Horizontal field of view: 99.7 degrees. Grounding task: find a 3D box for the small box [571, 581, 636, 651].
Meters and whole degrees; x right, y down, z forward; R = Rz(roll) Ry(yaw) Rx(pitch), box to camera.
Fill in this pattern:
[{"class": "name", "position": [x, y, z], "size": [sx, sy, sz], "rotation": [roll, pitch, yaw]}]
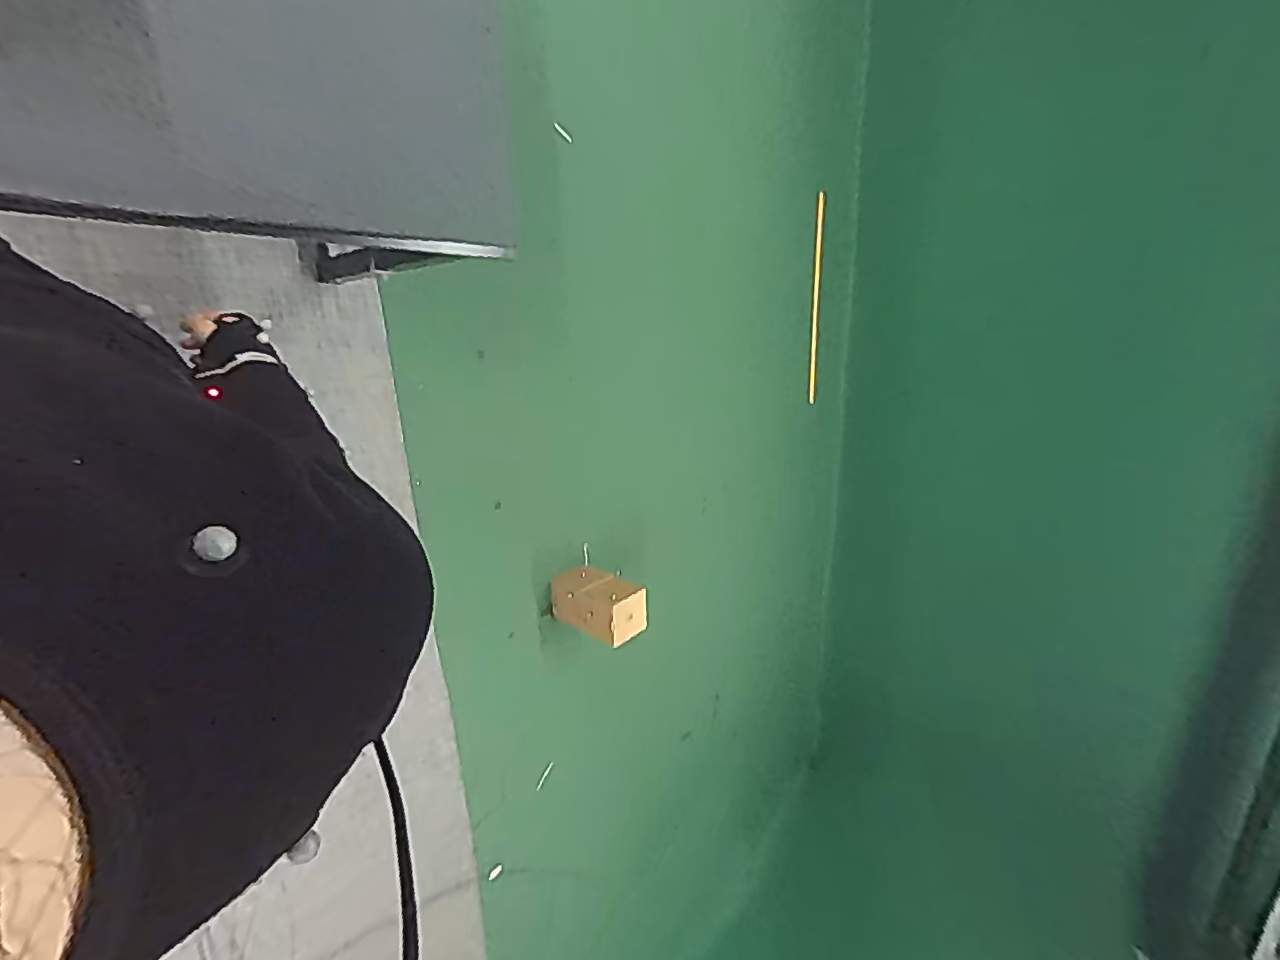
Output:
[{"class": "small box", "position": [-0.133, 0.486, 1.970], "size": [0.179, 0.176, 0.168], "rotation": [-18, 113, -47]}]
